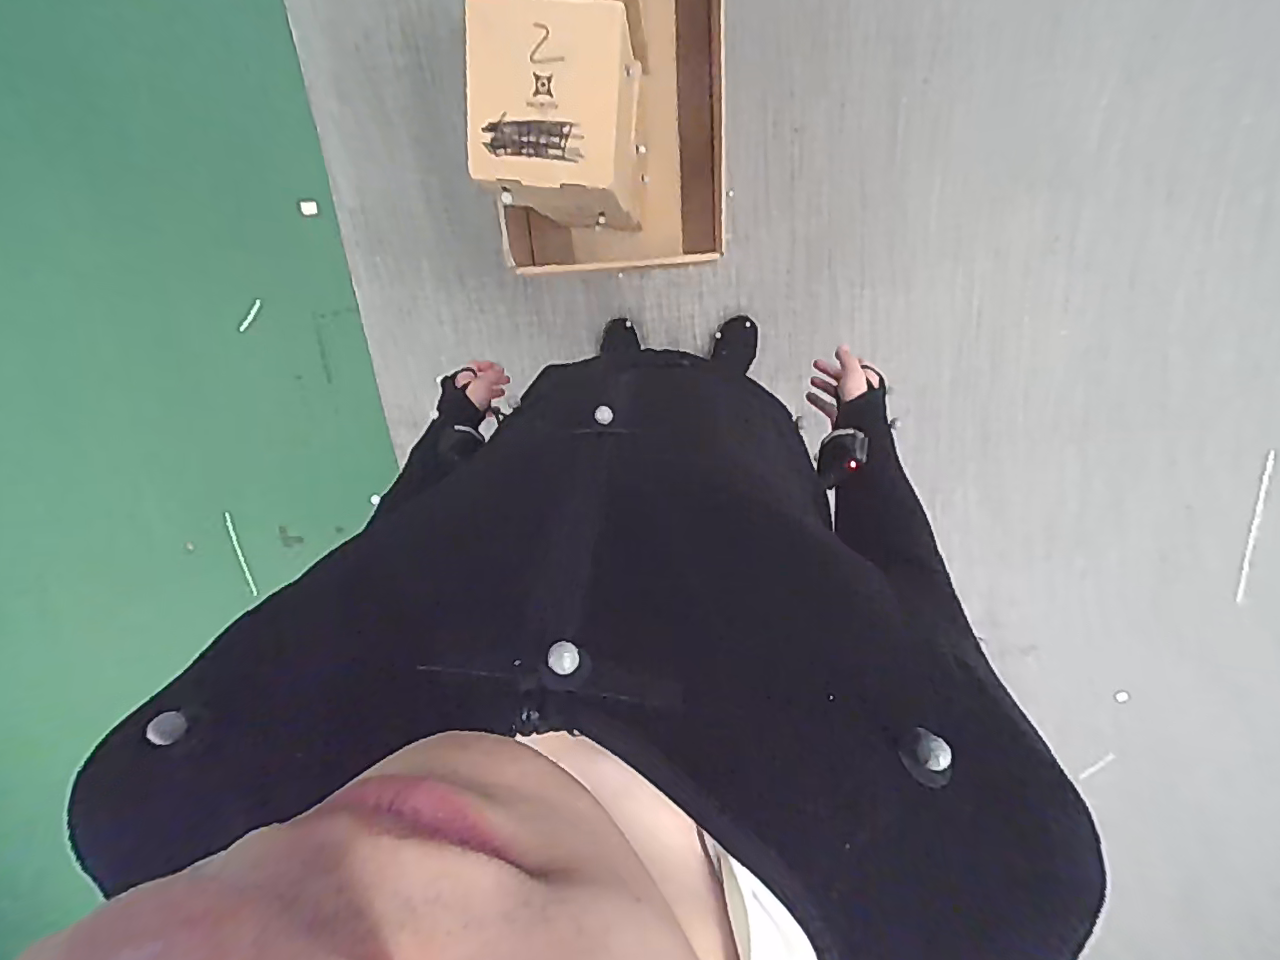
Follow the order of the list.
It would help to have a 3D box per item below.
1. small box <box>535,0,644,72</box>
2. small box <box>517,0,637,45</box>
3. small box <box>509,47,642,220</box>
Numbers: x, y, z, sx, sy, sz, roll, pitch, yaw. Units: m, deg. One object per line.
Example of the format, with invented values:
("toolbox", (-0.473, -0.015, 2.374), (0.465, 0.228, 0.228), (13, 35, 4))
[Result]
("small box", (-0.083, -0.796, 0.888), (0.168, 0.176, 0.179), (-3, 110, 6))
("small box", (-0.095, -0.739, 0.737), (0.168, 0.176, 0.179), (-4, 110, 4))
("small box", (-0.089, -0.503, 0.812), (0.168, 0.176, 0.179), (7, 108, 1))
